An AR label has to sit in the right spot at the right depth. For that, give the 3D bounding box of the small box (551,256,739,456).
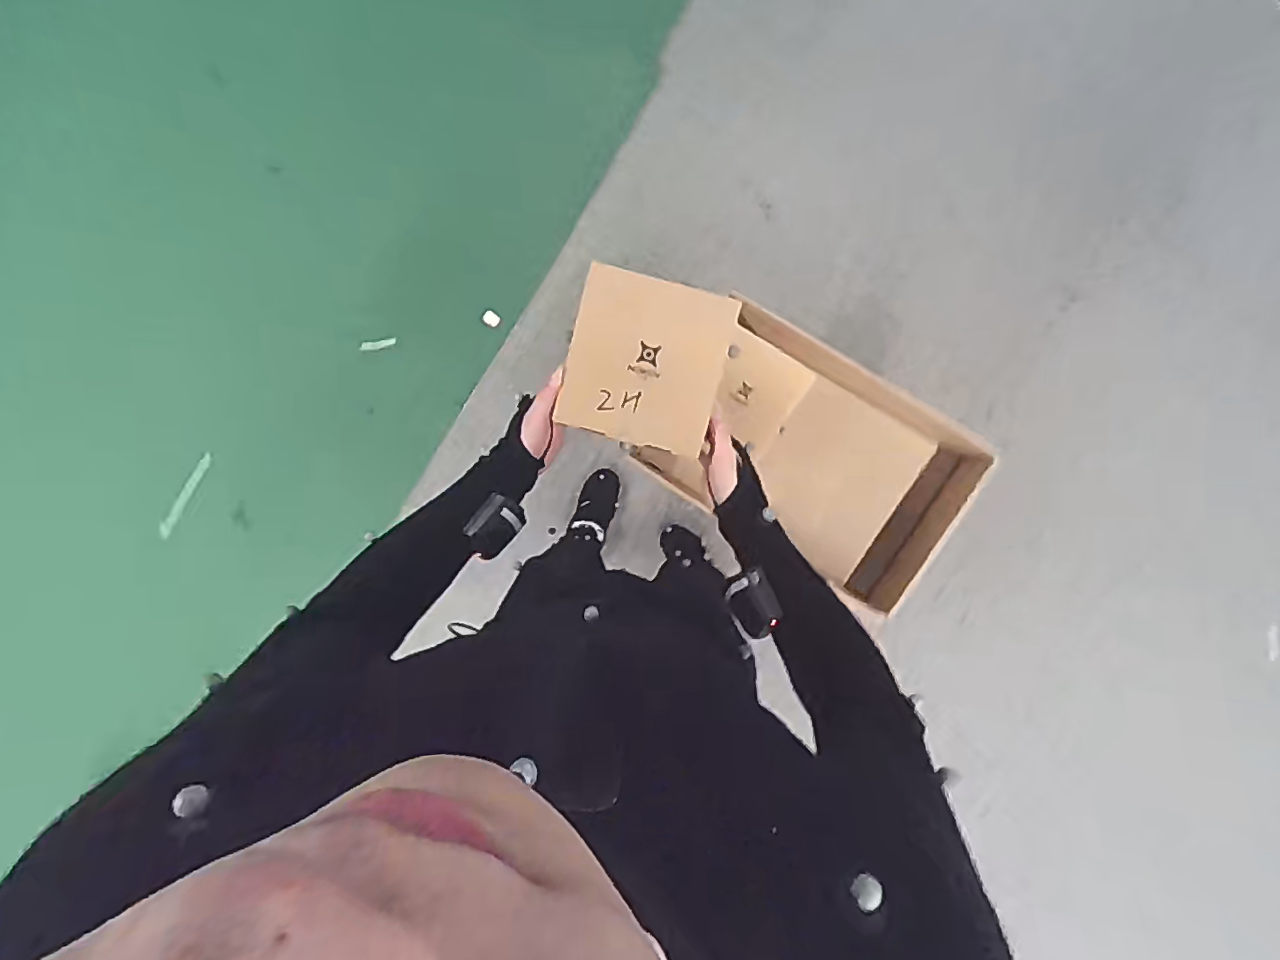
[{"bbox_3d":[0.003,-0.137,0.650,0.168,0.176,0.179,15,96,-2],"label":"small box"}]

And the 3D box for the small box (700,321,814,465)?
[{"bbox_3d":[0.171,-0.143,0.951,0.168,0.176,0.179,36,93,4],"label":"small box"}]
